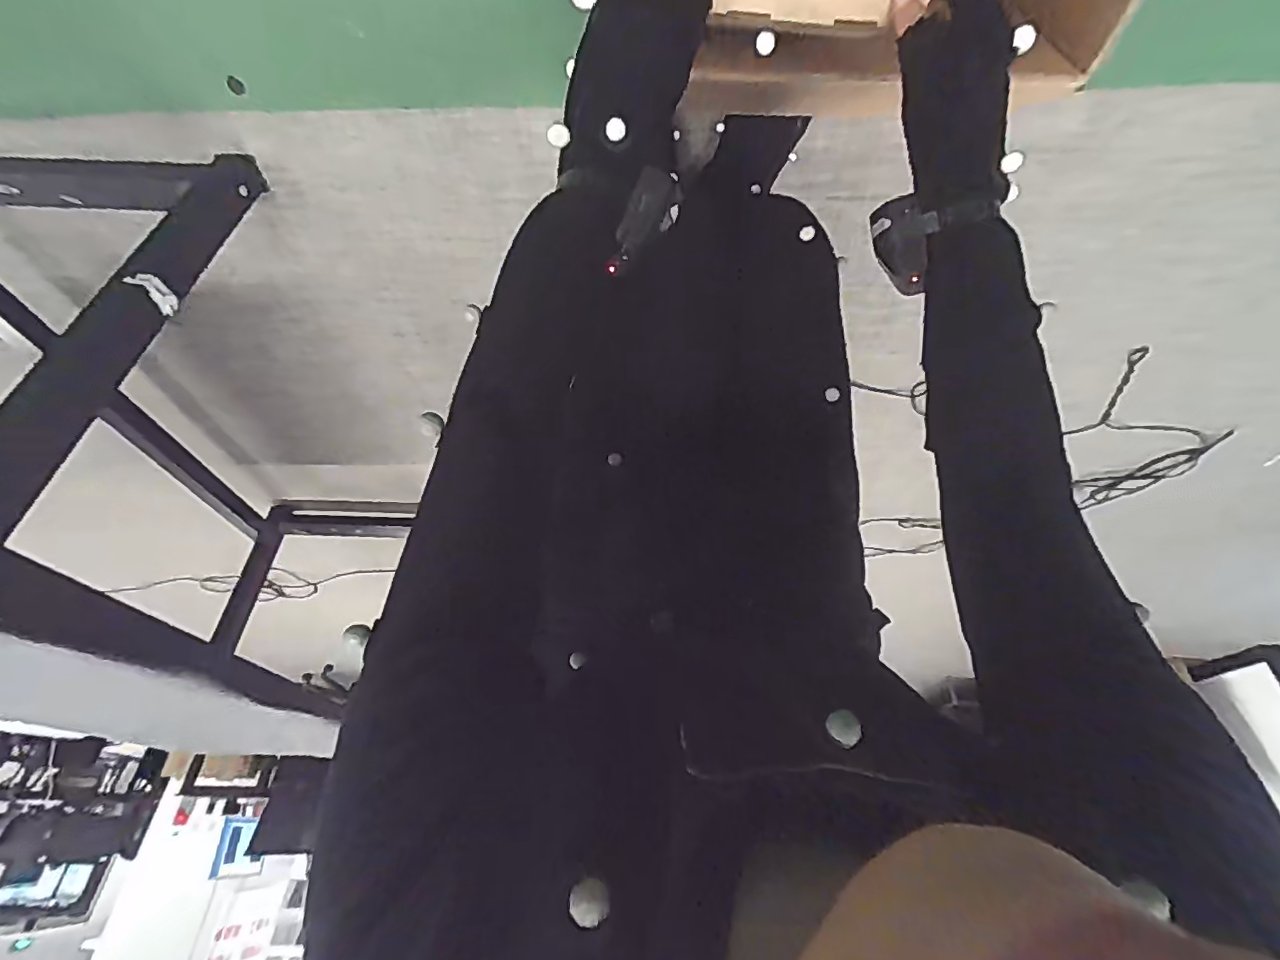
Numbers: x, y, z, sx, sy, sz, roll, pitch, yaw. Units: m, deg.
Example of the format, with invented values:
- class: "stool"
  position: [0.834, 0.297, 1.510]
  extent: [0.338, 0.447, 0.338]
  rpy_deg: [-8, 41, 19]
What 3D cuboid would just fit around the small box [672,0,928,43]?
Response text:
- class: "small box"
  position: [0.114, -0.426, 0.376]
  extent: [0.168, 0.176, 0.179]
  rpy_deg: [3, 128, -3]
